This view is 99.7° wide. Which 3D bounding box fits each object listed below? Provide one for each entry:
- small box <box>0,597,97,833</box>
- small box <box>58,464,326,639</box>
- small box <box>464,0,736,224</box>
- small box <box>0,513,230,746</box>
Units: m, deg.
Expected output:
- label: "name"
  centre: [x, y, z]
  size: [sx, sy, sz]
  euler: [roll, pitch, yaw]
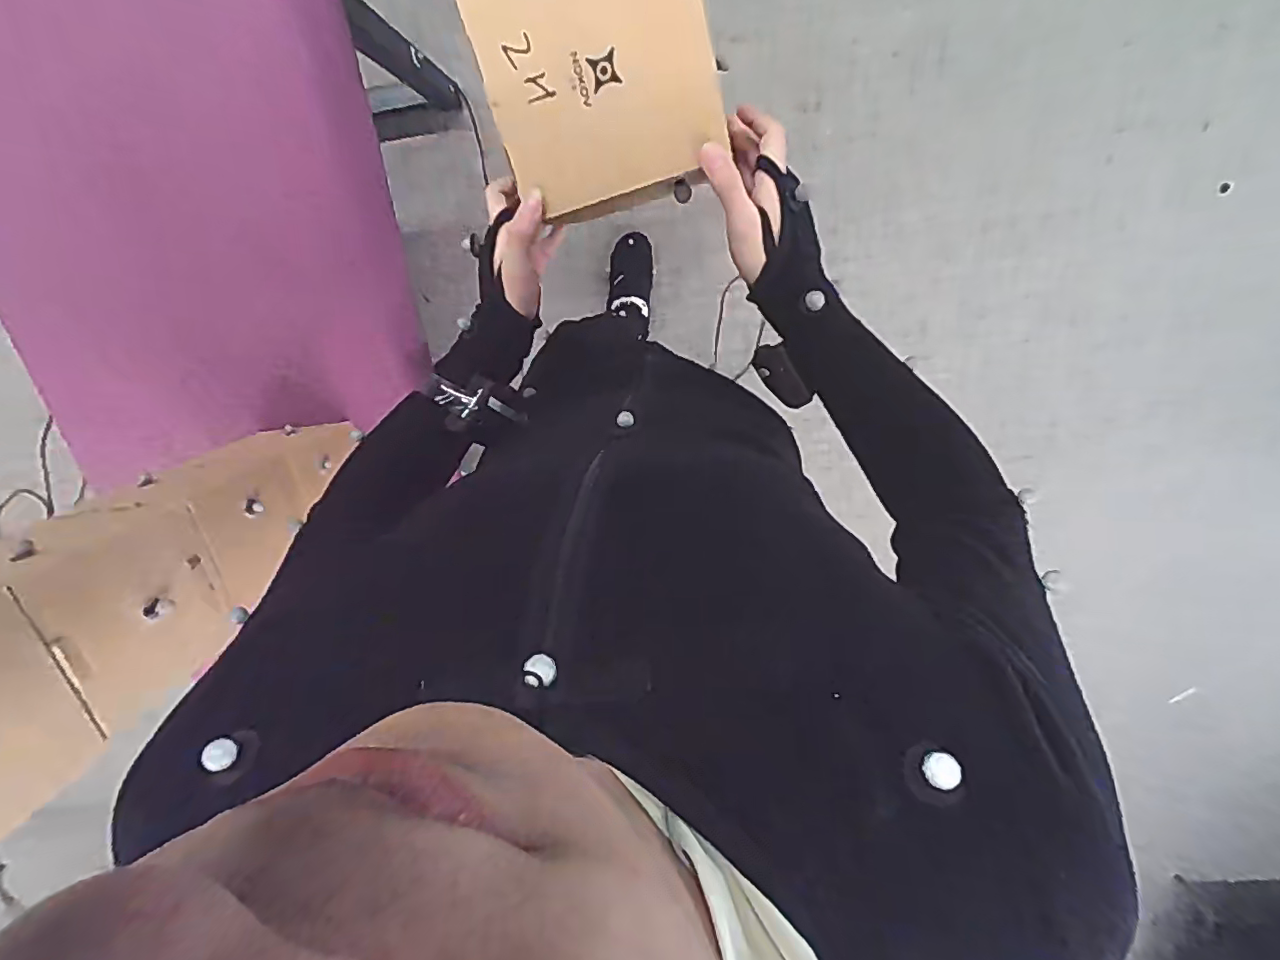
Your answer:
- label: "small box"
  centre: [-0.565, 0.198, 0.384]
  size: [0.168, 0.176, 0.179]
  euler: [-7, 109, 6]
- label: "small box"
  centre: [-0.546, 0.085, 0.690]
  size: [0.168, 0.176, 0.179]
  euler: [-6, 110, 5]
- label: "small box"
  centre: [-0.016, -0.336, 0.475]
  size: [0.179, 0.176, 0.168]
  euler: [-10, 112, 16]
- label: "small box"
  centre: [-0.560, 0.142, 0.538]
  size: [0.179, 0.176, 0.168]
  euler: [-7, 109, 5]
